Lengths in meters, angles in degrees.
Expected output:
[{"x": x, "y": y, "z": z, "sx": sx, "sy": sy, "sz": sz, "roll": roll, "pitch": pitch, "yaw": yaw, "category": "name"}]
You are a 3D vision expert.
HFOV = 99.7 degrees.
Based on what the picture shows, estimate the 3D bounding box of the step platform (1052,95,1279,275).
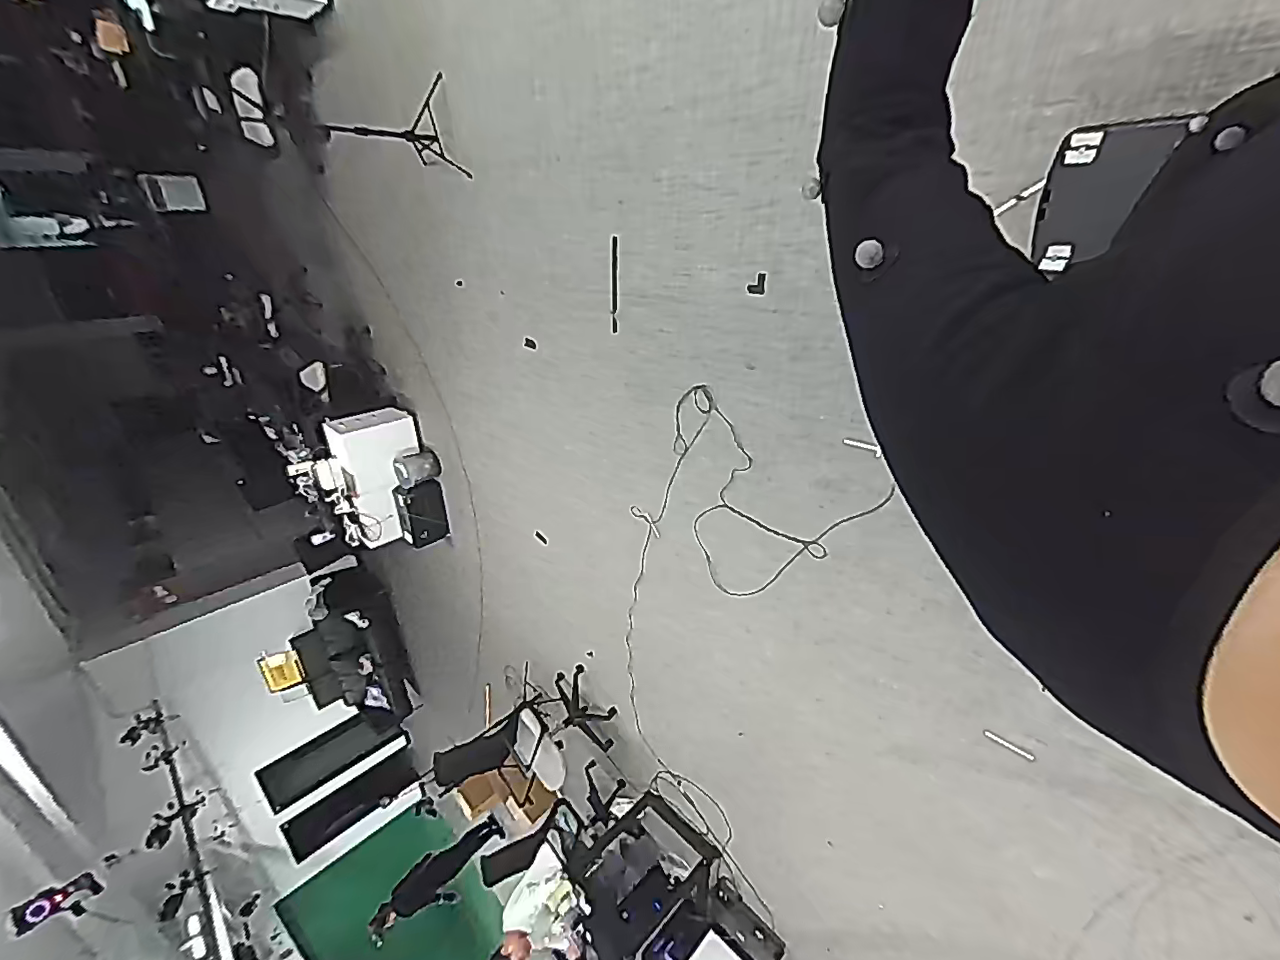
[{"x": 1.164, "y": -0.519, "z": 0.959, "sx": 0.684, "sy": 0.204, "sz": 0.286, "roll": 21, "pitch": 123, "yaw": 40, "category": "step platform"}]
